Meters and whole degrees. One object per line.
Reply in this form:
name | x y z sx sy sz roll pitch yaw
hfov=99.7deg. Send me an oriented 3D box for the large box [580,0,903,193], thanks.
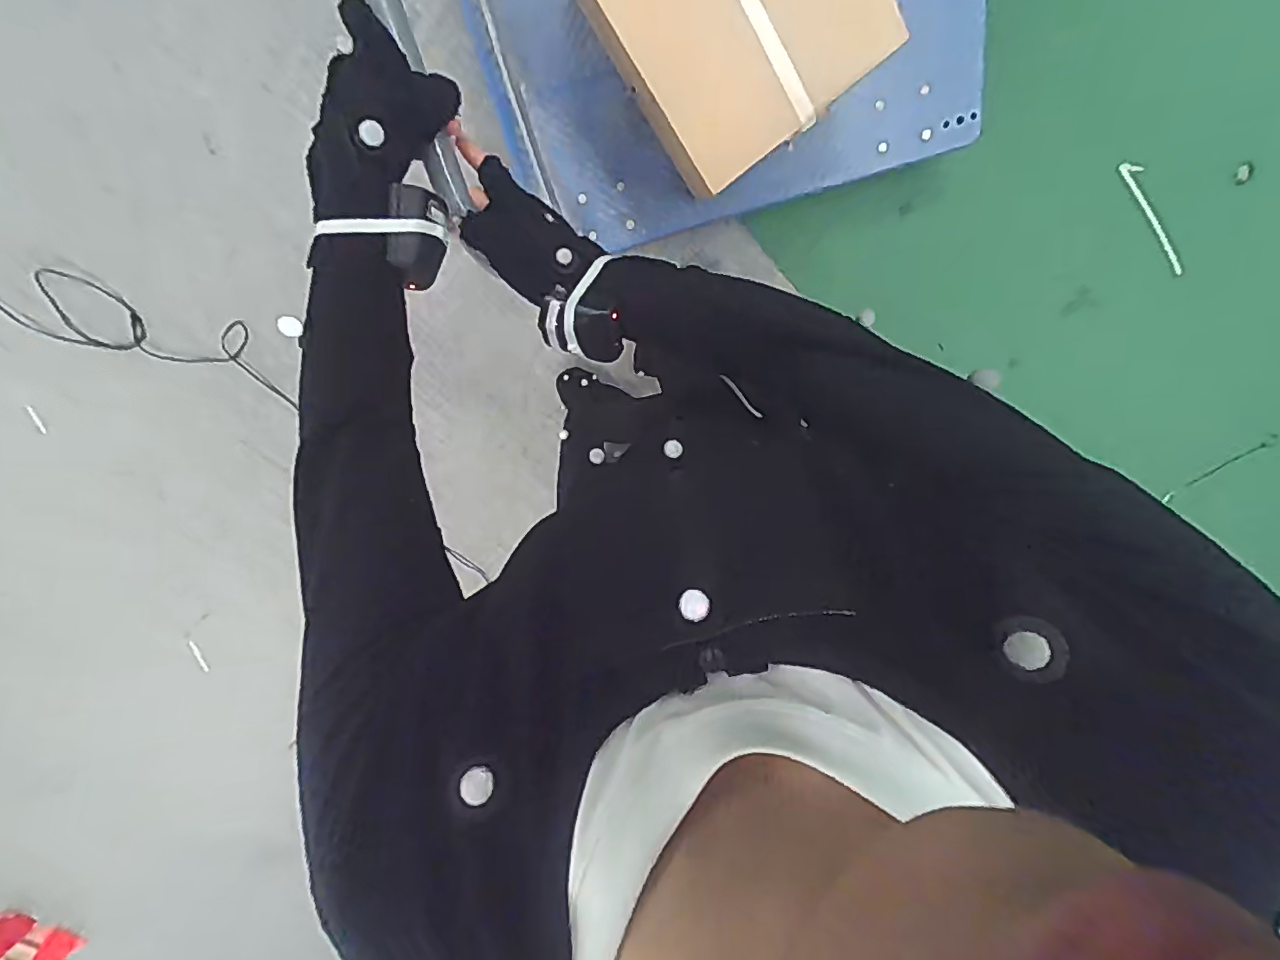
large box | 0.117 -0.718 0.823 0.320 0.320 0.408 -33 111 15
